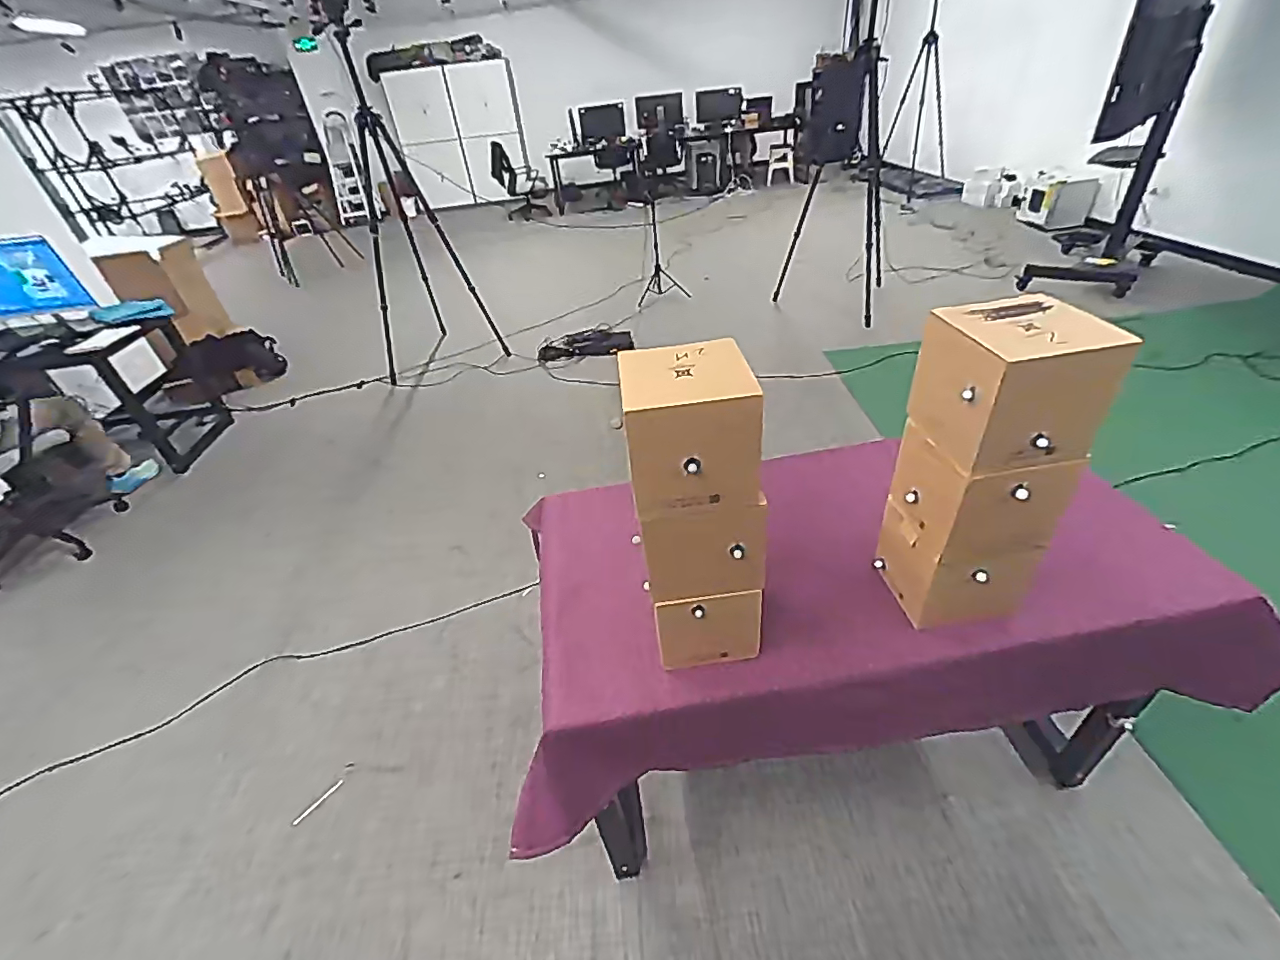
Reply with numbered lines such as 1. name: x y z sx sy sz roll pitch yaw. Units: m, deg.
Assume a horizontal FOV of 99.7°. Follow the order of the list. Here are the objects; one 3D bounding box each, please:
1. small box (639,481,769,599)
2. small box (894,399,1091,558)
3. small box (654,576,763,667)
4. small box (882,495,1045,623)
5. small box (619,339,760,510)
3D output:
1. small box: 0.089 0.062 0.831 0.179 0.176 0.168 -8 36 1
2. small box: 0.524 -0.001 0.837 0.179 0.176 0.168 -10 37 -1
3. small box: 0.107 0.191 0.929 0.168 0.176 0.179 -8 36 0
4. small box: 0.538 0.128 0.935 0.179 0.176 0.168 -8 37 -1
5. small box: 0.065 -0.071 0.737 0.168 0.176 0.179 -7 36 1
